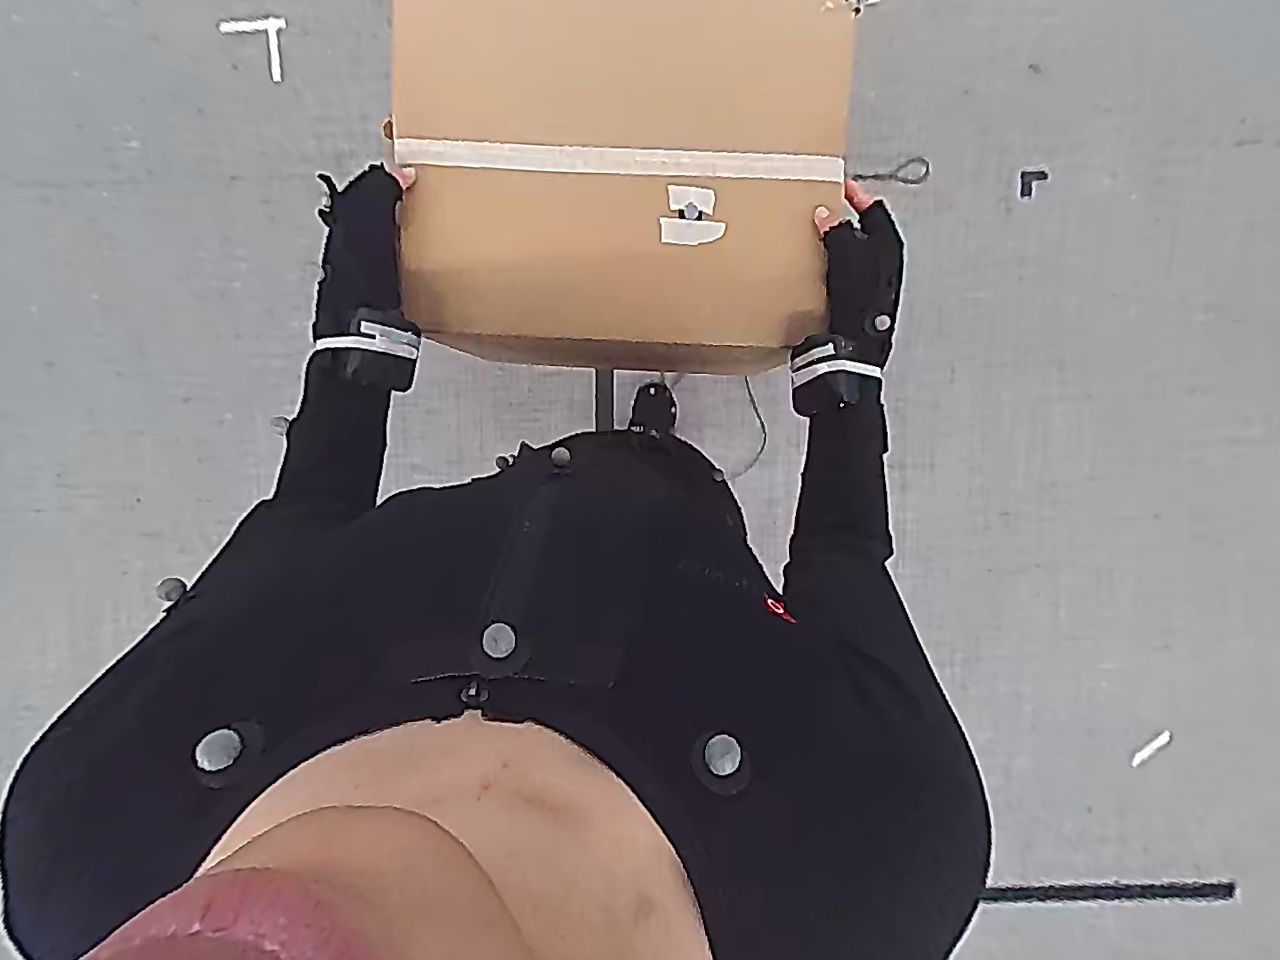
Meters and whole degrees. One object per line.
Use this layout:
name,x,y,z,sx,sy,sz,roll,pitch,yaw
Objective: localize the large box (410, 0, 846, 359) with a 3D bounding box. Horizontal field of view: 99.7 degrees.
large box,-0.017,-0.321,0.654,0.408,0.320,0.320,2,98,-1
